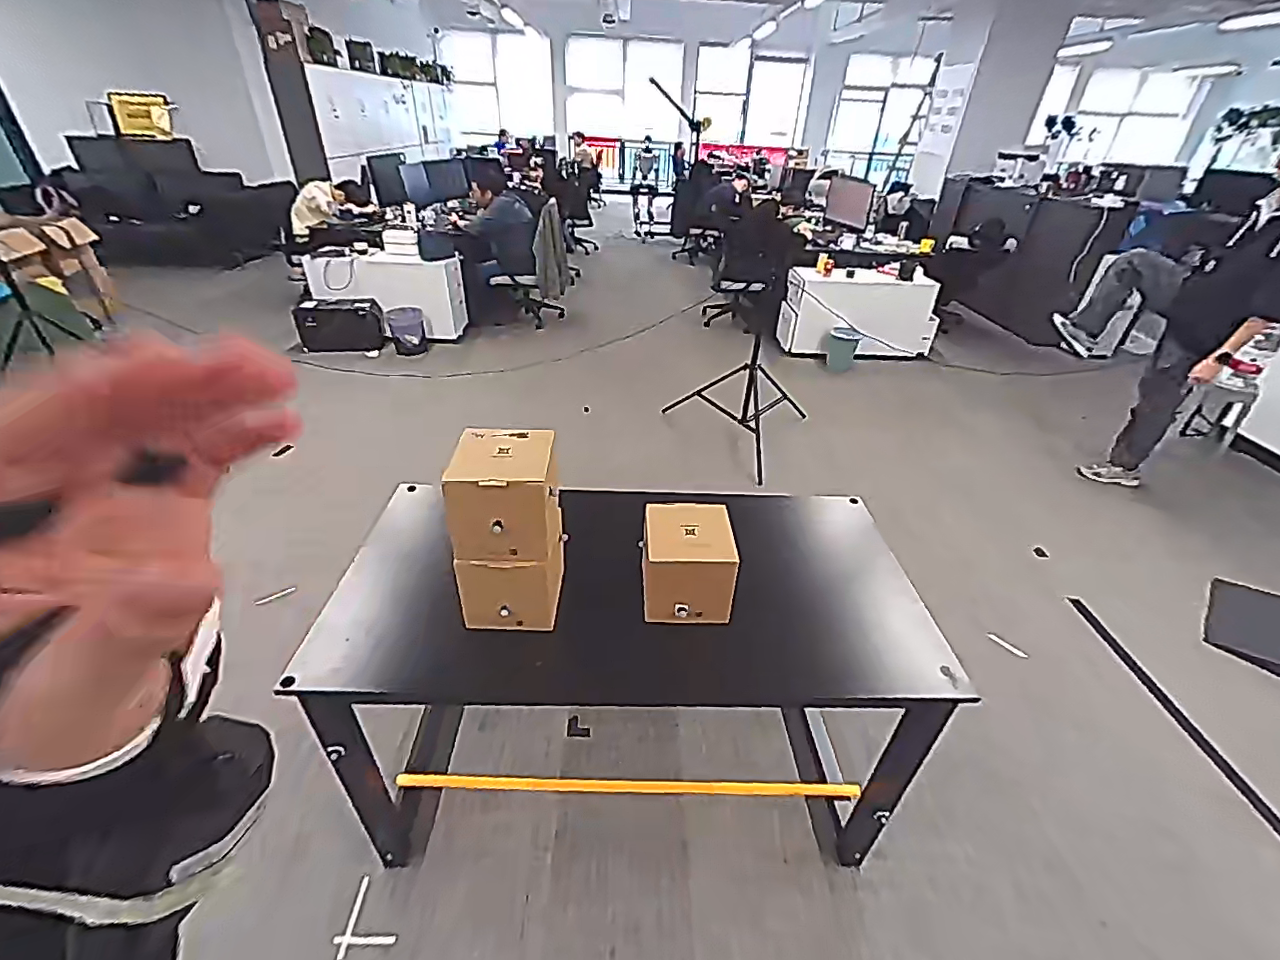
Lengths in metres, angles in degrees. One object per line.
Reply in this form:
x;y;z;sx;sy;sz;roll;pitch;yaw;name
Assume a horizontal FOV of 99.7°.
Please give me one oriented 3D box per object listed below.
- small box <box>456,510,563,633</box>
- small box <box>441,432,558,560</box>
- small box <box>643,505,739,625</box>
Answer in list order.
-0.243;0.171;1.052;0.168;0.176;0.179;2;34;-1;small box
-0.239;0.029;0.968;0.168;0.176;0.179;1;34;-3;small box
0.093;0.168;1.084;0.168;0.176;0.179;0;34;-2;small box
